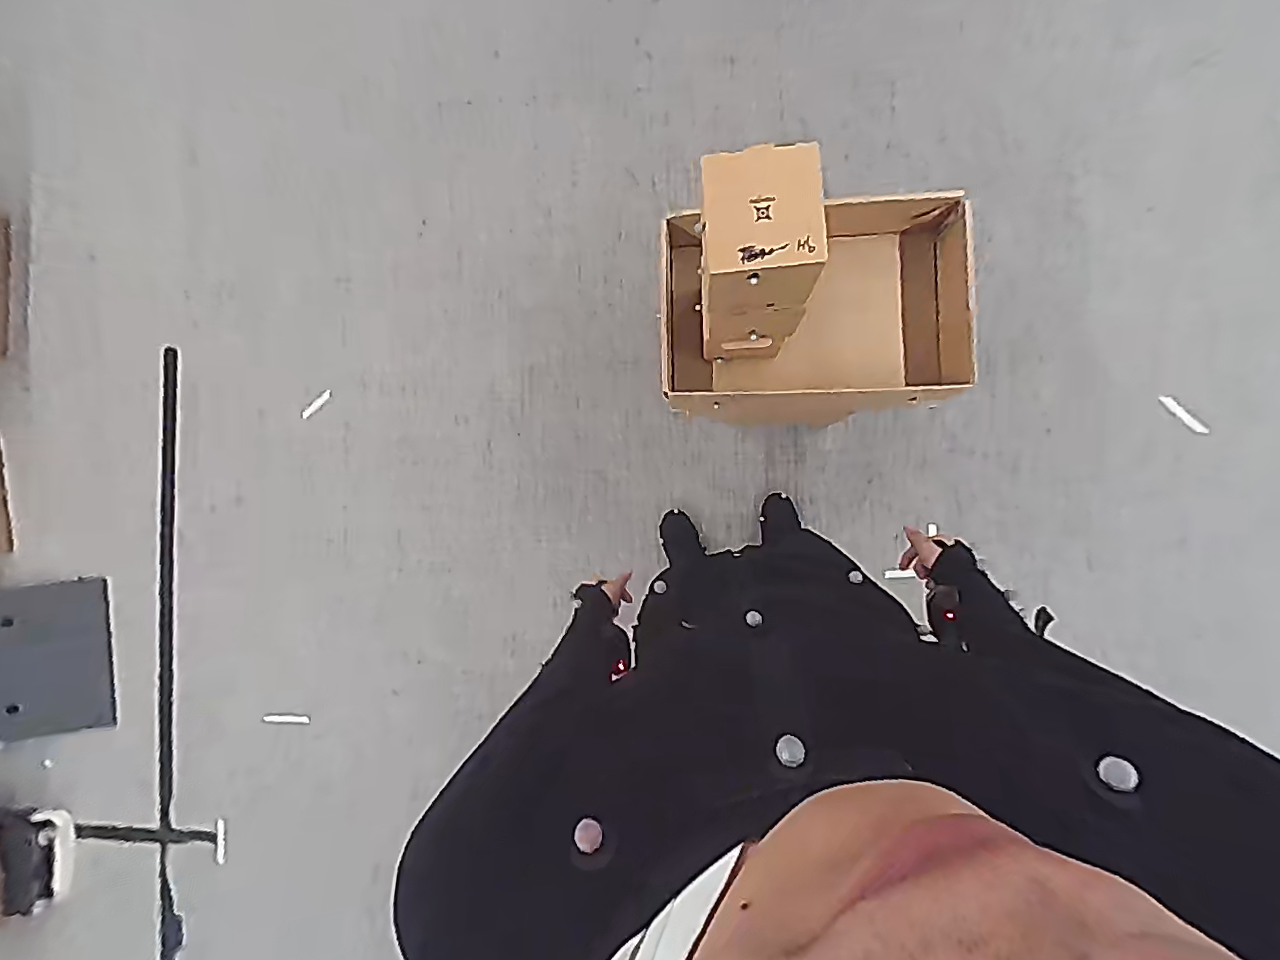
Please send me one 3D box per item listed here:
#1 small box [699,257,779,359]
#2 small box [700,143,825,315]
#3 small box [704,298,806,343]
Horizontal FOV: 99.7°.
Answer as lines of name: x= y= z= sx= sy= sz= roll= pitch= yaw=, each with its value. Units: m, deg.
small box: x=0.212 y=-0.364 z=1.158 sx=0.168 sy=0.176 sz=0.179 roll=-2 pitch=87 yaw=6
small box: x=0.178 y=-0.374 z=0.831 sx=0.168 sy=0.176 sz=0.179 roll=-3 pitch=86 yaw=6
small box: x=0.202 y=-0.366 z=0.994 sx=0.168 sy=0.176 sz=0.179 roll=-3 pitch=88 yaw=6
